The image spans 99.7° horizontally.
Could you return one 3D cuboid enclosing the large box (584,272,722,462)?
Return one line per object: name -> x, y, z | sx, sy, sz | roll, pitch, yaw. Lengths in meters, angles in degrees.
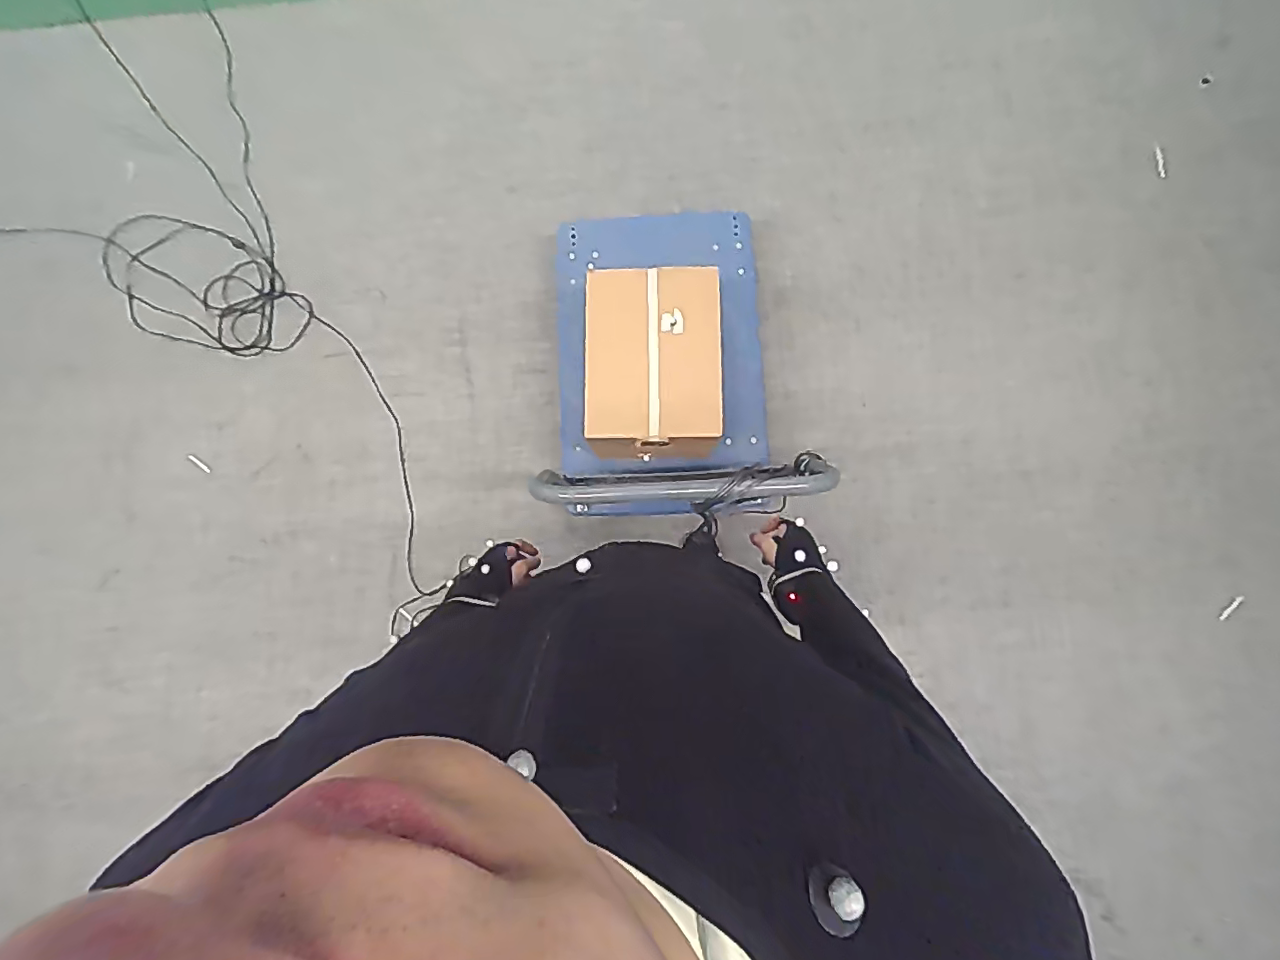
large box -> 0.034, -0.268, 1.390 | 0.320, 0.320, 0.408 | 0, 82, 1
